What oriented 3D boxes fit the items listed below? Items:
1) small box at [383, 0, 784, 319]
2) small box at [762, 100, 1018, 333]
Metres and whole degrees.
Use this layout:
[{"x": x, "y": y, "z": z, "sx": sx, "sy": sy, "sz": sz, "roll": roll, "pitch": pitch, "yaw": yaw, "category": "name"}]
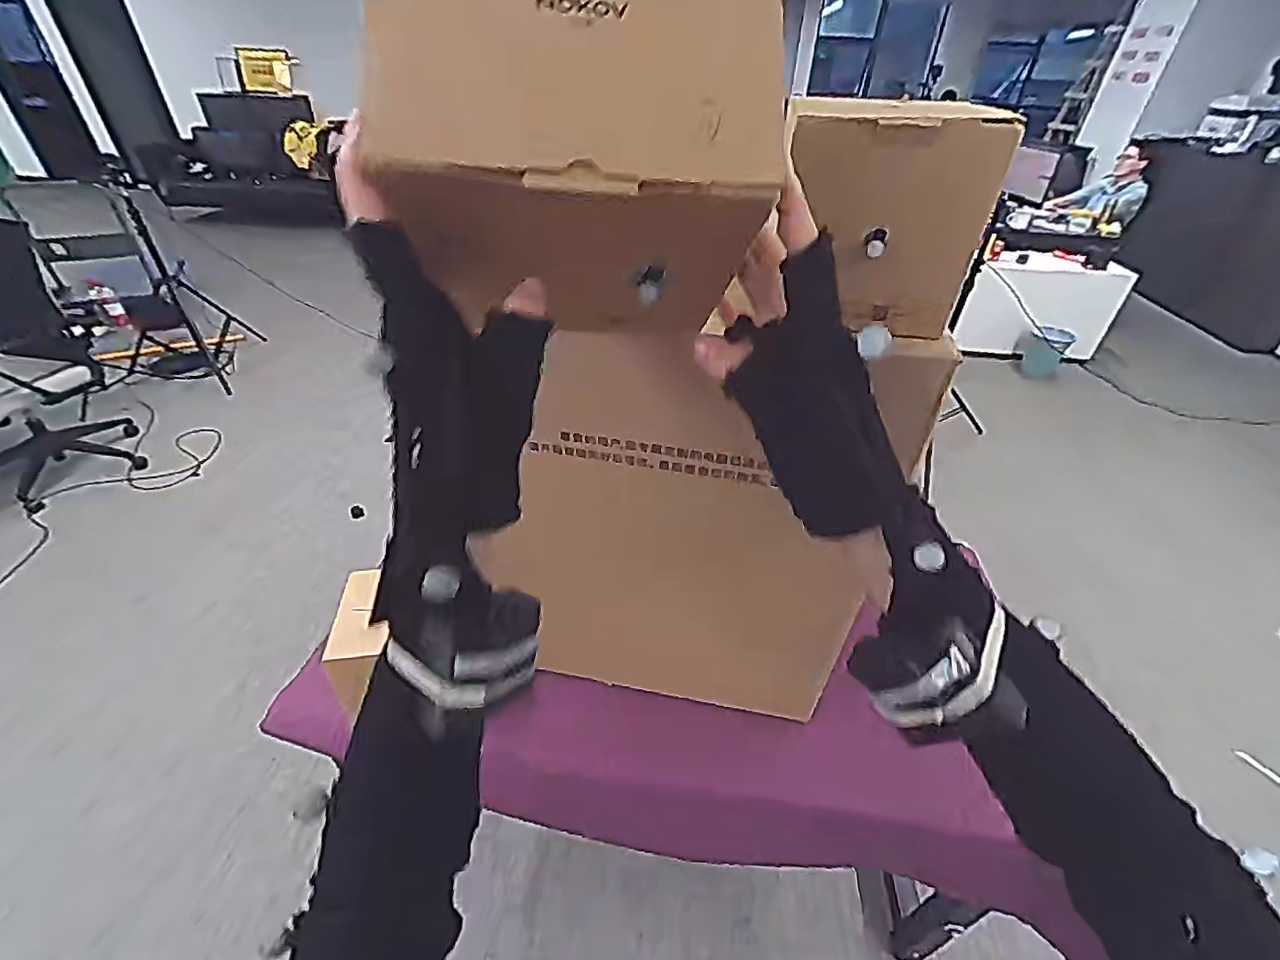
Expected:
[{"x": -0.027, "y": -0.205, "z": 0.305, "sx": 0.168, "sy": 0.179, "sz": 0.176, "roll": 1, "pitch": -6, "yaw": -6, "category": "small box"}, {"x": 0.214, "y": -0.255, "z": 0.519, "sx": 0.168, "sy": 0.176, "sz": 0.179, "roll": 7, "pitch": 39, "yaw": 7, "category": "small box"}]
